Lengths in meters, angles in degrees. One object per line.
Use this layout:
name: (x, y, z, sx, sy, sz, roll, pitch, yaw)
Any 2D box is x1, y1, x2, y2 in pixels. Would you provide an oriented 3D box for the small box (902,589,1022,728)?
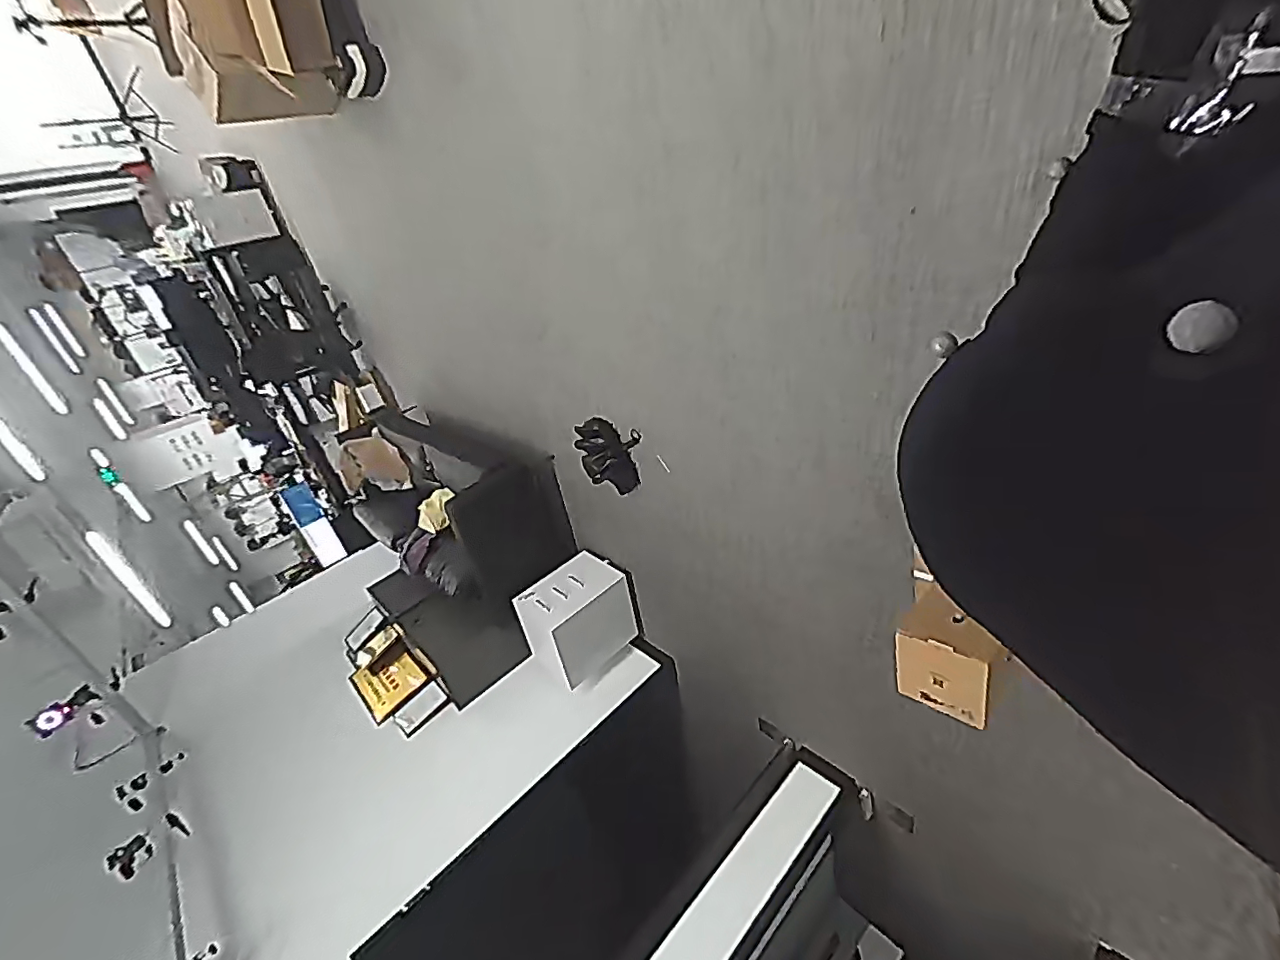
small box: (0.651, 0.350, 1.097, 0.168, 0.176, 0.179, 15, 128, 46)
